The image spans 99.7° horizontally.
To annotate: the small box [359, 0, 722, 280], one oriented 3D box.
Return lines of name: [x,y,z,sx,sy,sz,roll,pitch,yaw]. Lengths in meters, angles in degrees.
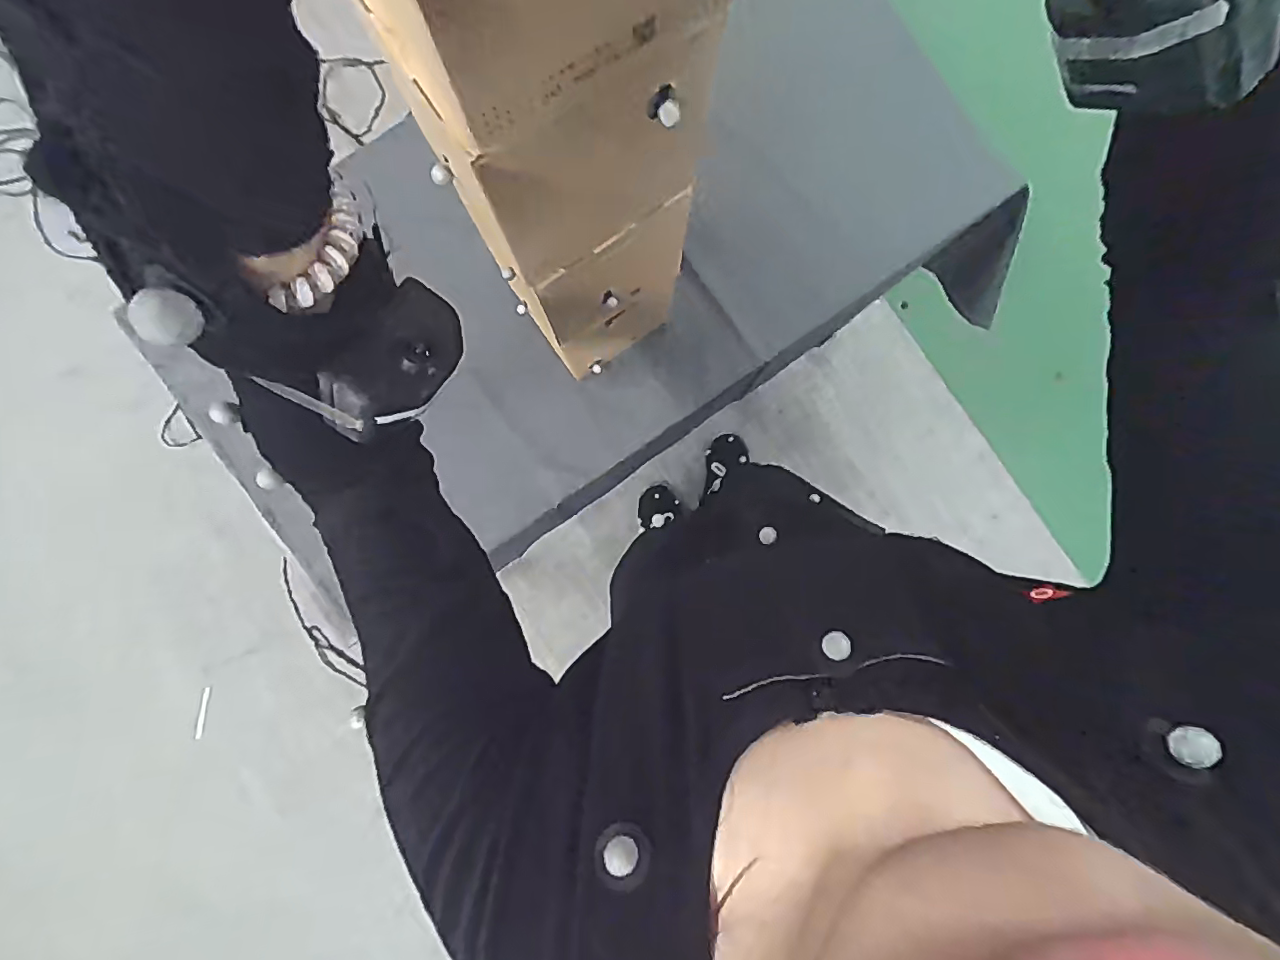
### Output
small box: [-0.067,-0.284,0.392,0.179,0.176,0.168,-33,87,-2]

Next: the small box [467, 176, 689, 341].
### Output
small box: [-0.070,-0.275,0.556,0.168,0.176,0.179,-35,87,-2]

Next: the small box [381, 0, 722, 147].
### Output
small box: [-0.064,-0.297,0.228,0.168,0.176,0.179,-32,87,-2]

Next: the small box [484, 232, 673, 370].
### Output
small box: [-0.071,-0.265,0.718,0.168,0.176,0.179,-35,86,-2]
